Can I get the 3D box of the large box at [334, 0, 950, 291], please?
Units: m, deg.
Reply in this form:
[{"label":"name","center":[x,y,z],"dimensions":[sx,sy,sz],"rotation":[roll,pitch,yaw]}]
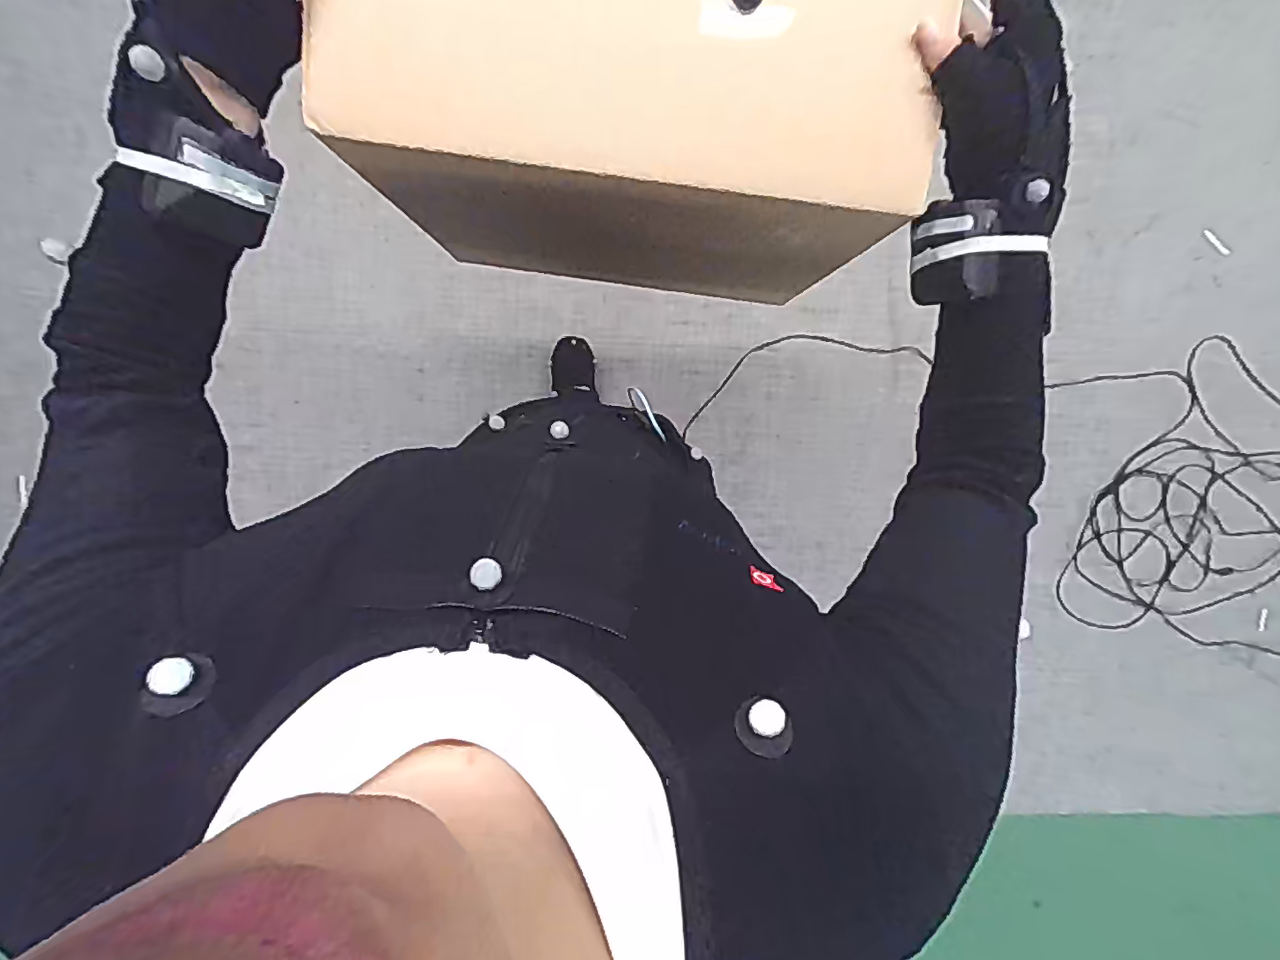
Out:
[{"label":"large box","center":[0.005,-0.380,0.491],"dimensions":[0.408,0.320,0.320],"rotation":[6,98,-2]}]
